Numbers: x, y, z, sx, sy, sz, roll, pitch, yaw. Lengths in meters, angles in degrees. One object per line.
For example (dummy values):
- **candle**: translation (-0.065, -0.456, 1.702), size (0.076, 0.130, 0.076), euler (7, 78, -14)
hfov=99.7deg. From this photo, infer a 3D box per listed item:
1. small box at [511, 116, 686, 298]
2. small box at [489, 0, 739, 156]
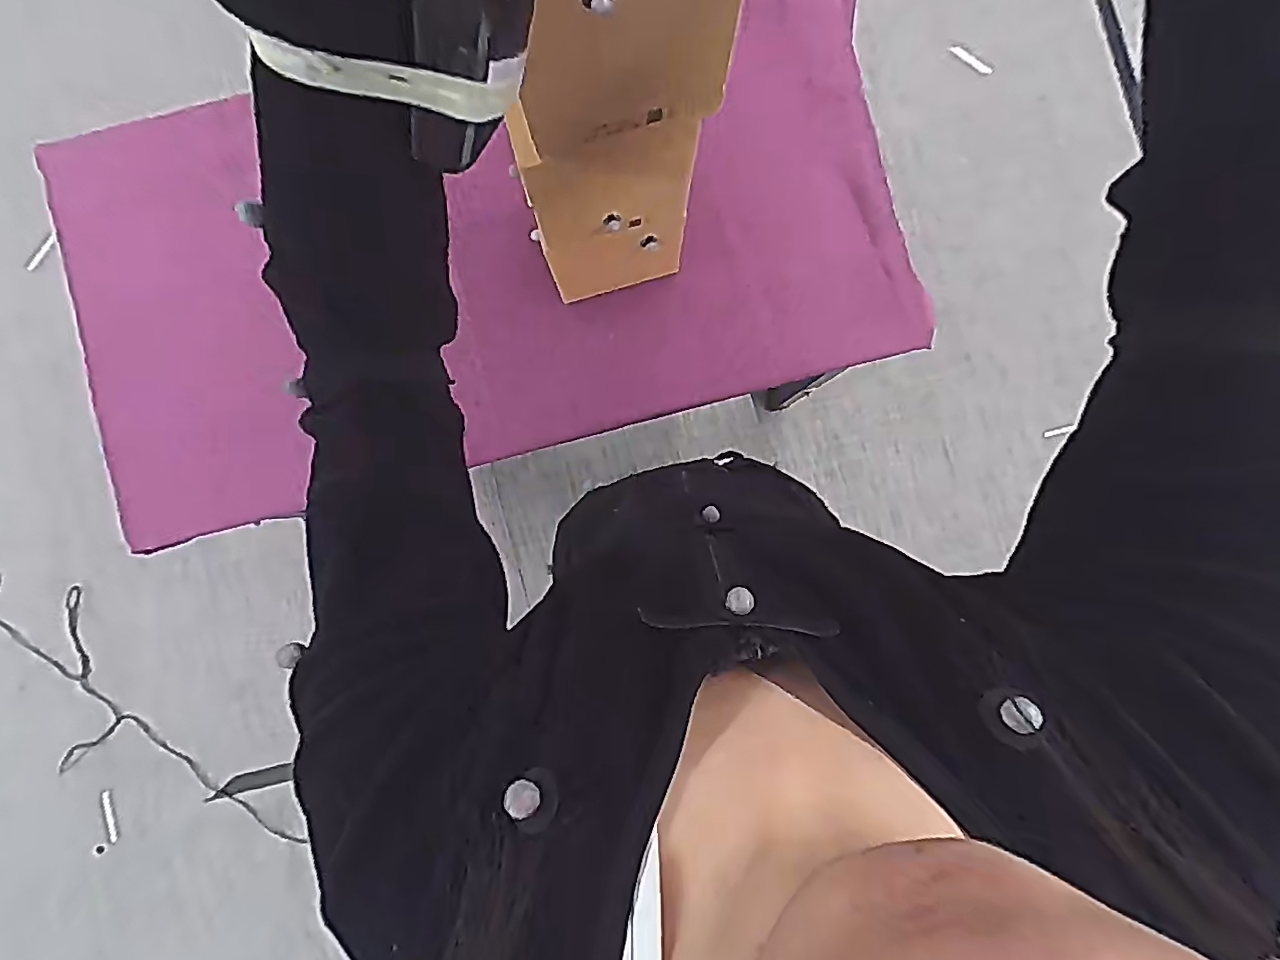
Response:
- **small box**: translation (-0.049, -0.365, 0.716), size (0.179, 0.176, 0.168), euler (-16, 87, 1)
- **small box**: translation (-0.033, -0.382, 0.389), size (0.168, 0.176, 0.179), euler (-16, 88, 0)
